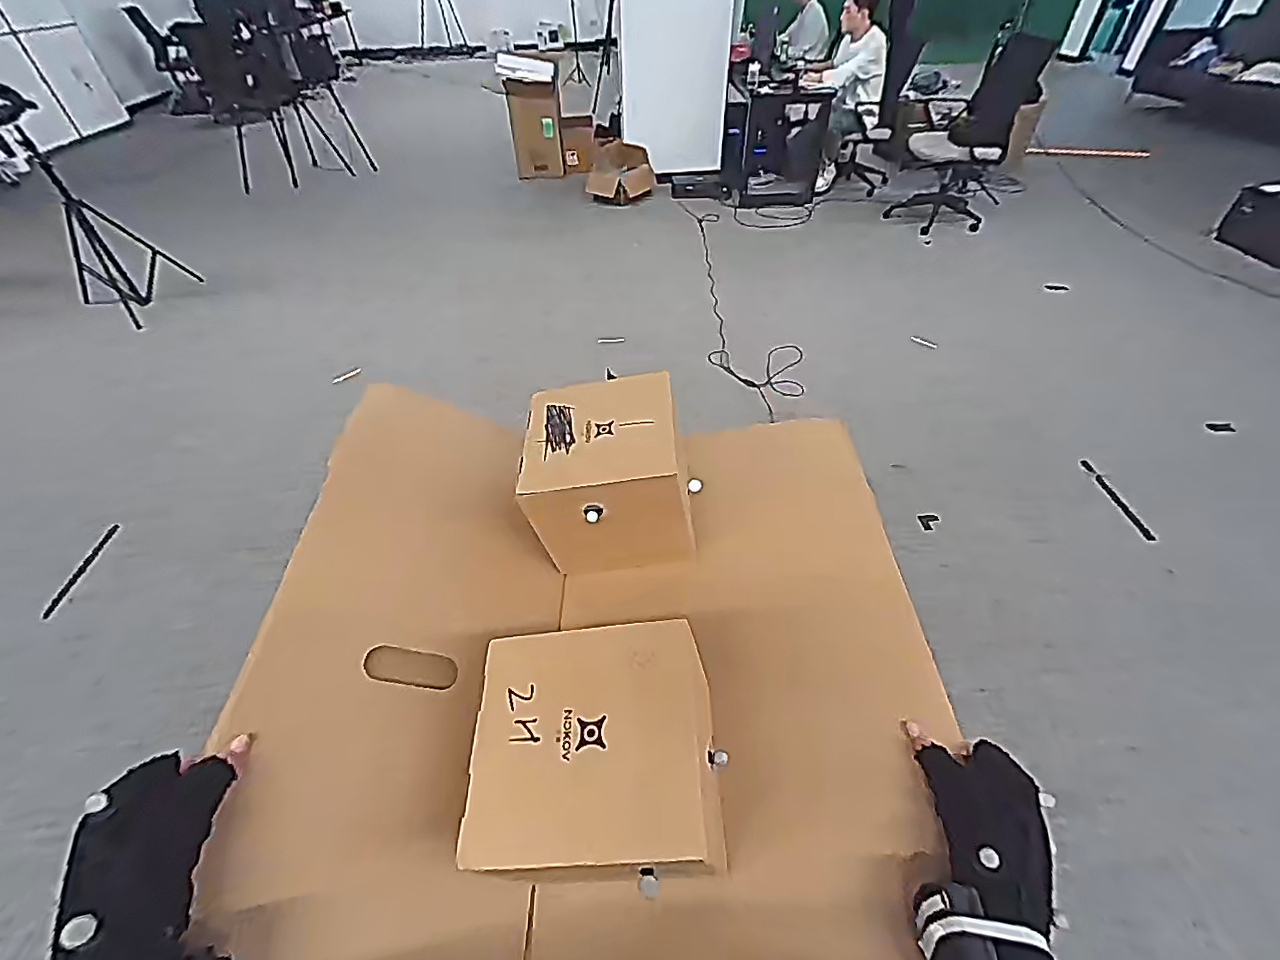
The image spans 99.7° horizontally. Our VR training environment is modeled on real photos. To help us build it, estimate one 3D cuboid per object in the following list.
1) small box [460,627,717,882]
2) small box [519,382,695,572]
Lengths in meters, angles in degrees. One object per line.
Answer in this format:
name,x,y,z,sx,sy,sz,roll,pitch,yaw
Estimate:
small box,-0.027,0.246,0.477,0.179,0.176,0.168,-8,49,9
small box,-0.031,0.003,0.681,0.179,0.176,0.168,-7,50,8
